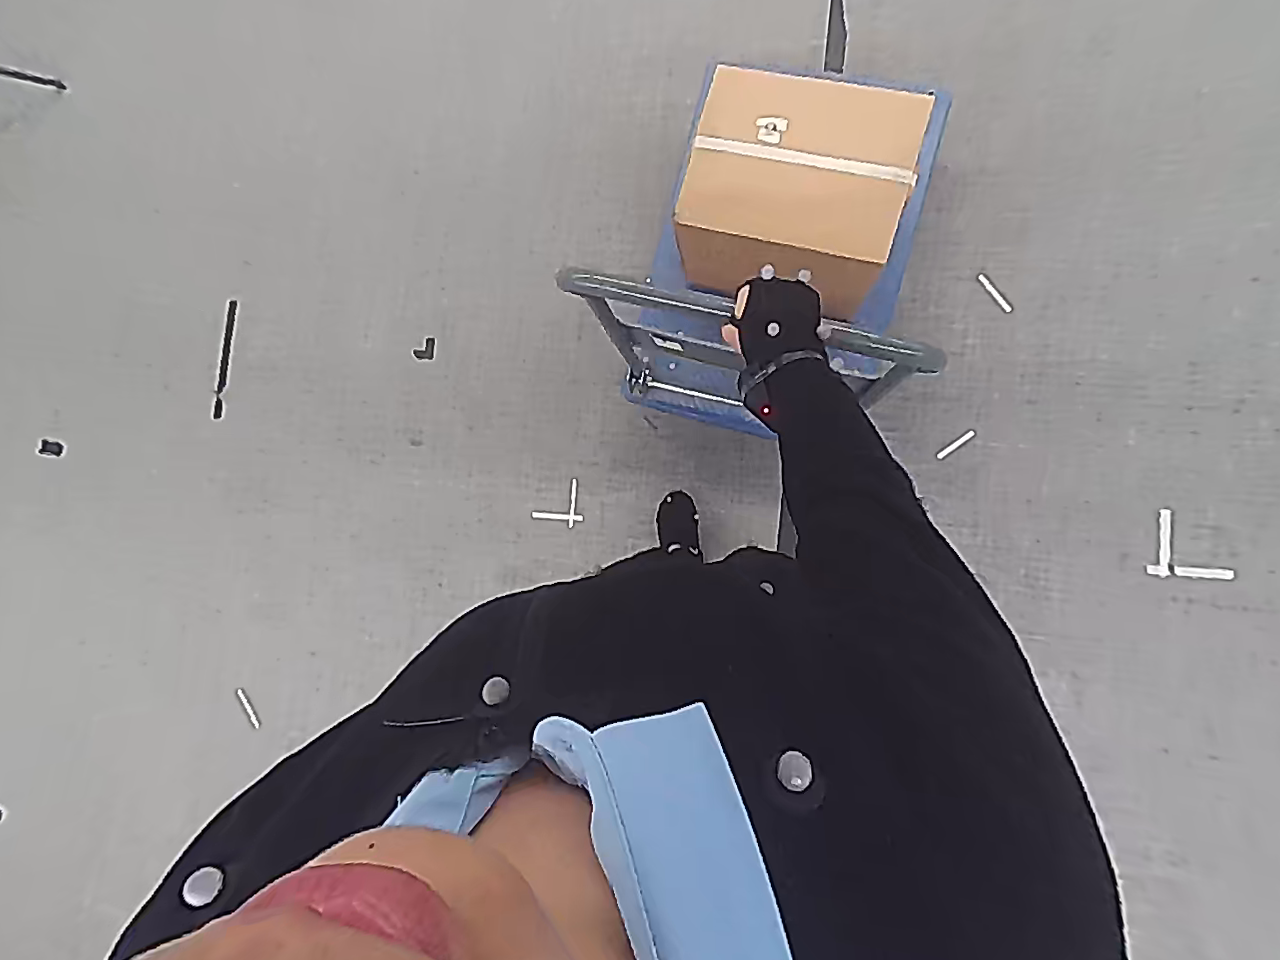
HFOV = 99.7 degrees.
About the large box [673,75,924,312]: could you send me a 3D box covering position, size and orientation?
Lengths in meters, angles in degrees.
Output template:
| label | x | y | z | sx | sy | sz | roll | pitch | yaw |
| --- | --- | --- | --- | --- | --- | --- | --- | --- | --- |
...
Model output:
| label | x | y | z | sx | sy | sz | roll | pitch | yaw |
| --- | --- | --- | --- | --- | --- | --- | --- | --- | --- |
| large box | 0.322 | -0.590 | 1.164 | 0.408 | 0.320 | 0.320 | 16 | 90 | 12 |
